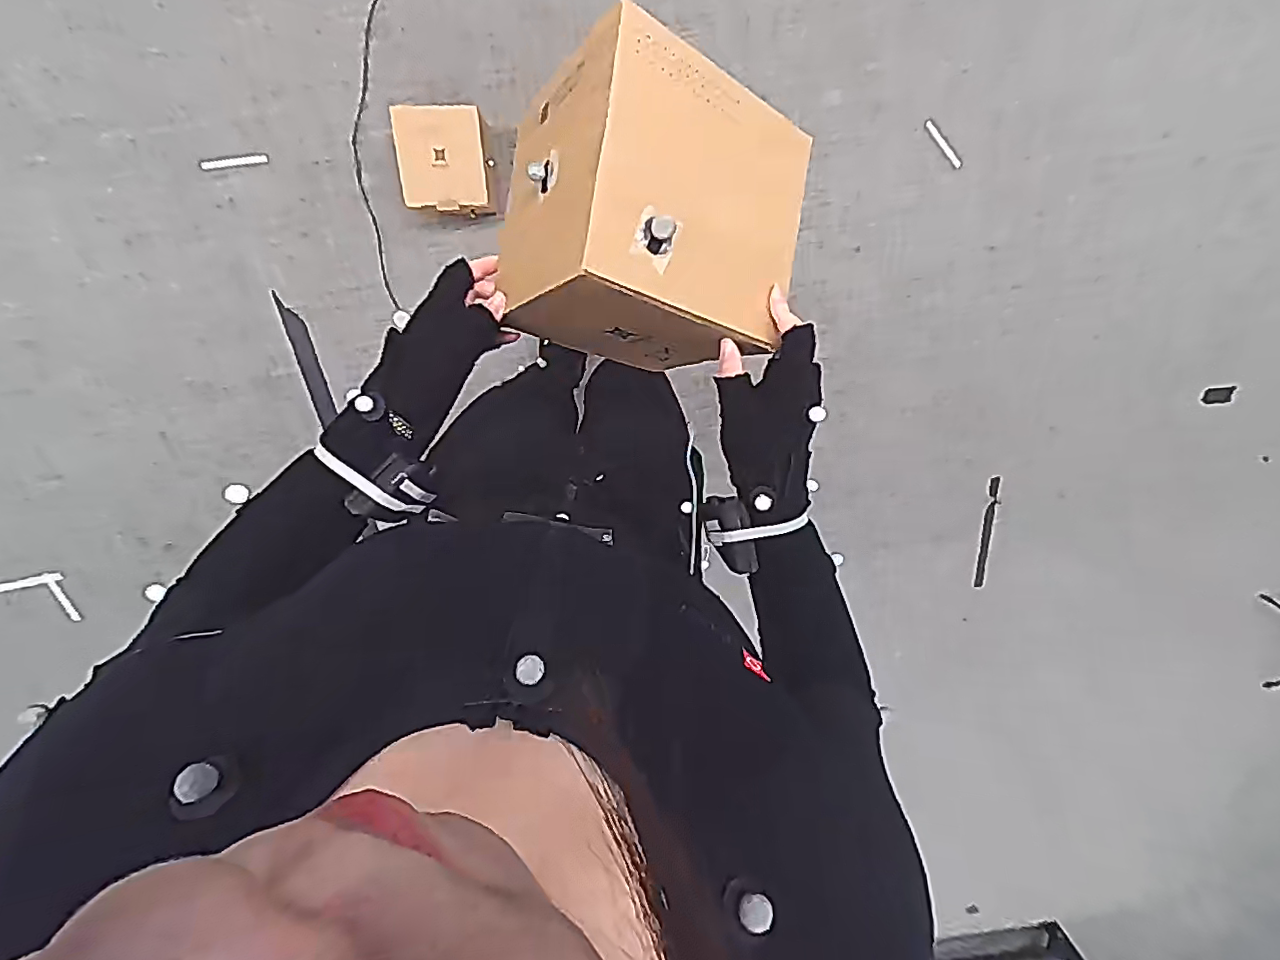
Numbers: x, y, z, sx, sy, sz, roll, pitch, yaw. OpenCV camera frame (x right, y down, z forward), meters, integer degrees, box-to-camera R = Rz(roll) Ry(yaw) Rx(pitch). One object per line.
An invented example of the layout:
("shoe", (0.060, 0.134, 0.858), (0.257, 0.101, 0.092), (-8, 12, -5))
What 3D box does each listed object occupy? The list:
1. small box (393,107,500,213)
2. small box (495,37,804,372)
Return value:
("small box", (-0.395, -0.661, 1.135), (0.168, 0.176, 0.179), (-4, 112, -6))
("small box", (0.005, -0.197, 0.433), (0.179, 0.168, 0.176), (9, 90, -34))
